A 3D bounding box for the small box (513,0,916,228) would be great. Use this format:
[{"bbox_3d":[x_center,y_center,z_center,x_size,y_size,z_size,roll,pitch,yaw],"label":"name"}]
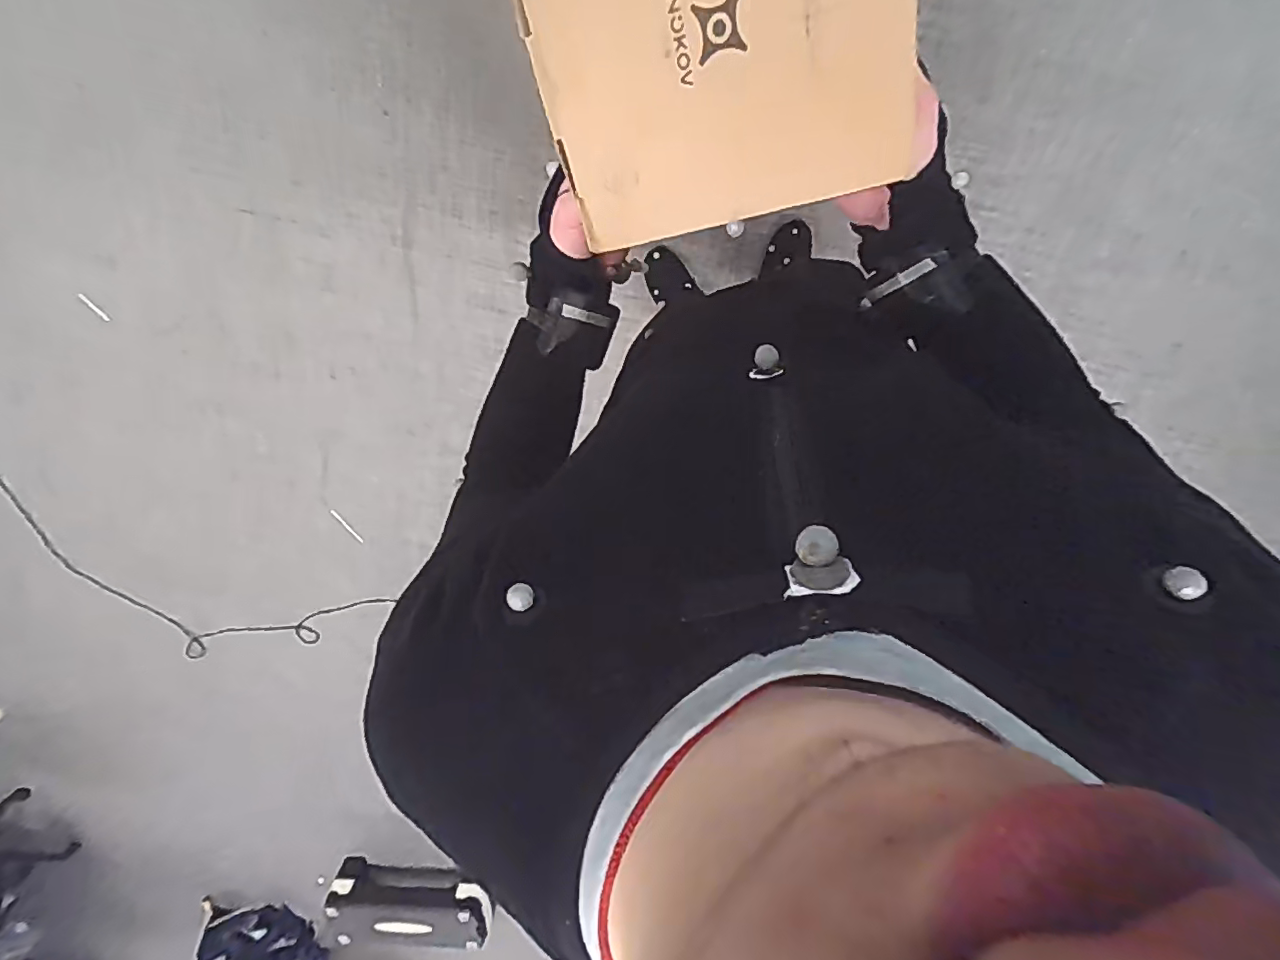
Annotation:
[{"bbox_3d":[0.043,-0.262,0.304,0.179,0.176,0.168,-7,124,16],"label":"small box"}]
